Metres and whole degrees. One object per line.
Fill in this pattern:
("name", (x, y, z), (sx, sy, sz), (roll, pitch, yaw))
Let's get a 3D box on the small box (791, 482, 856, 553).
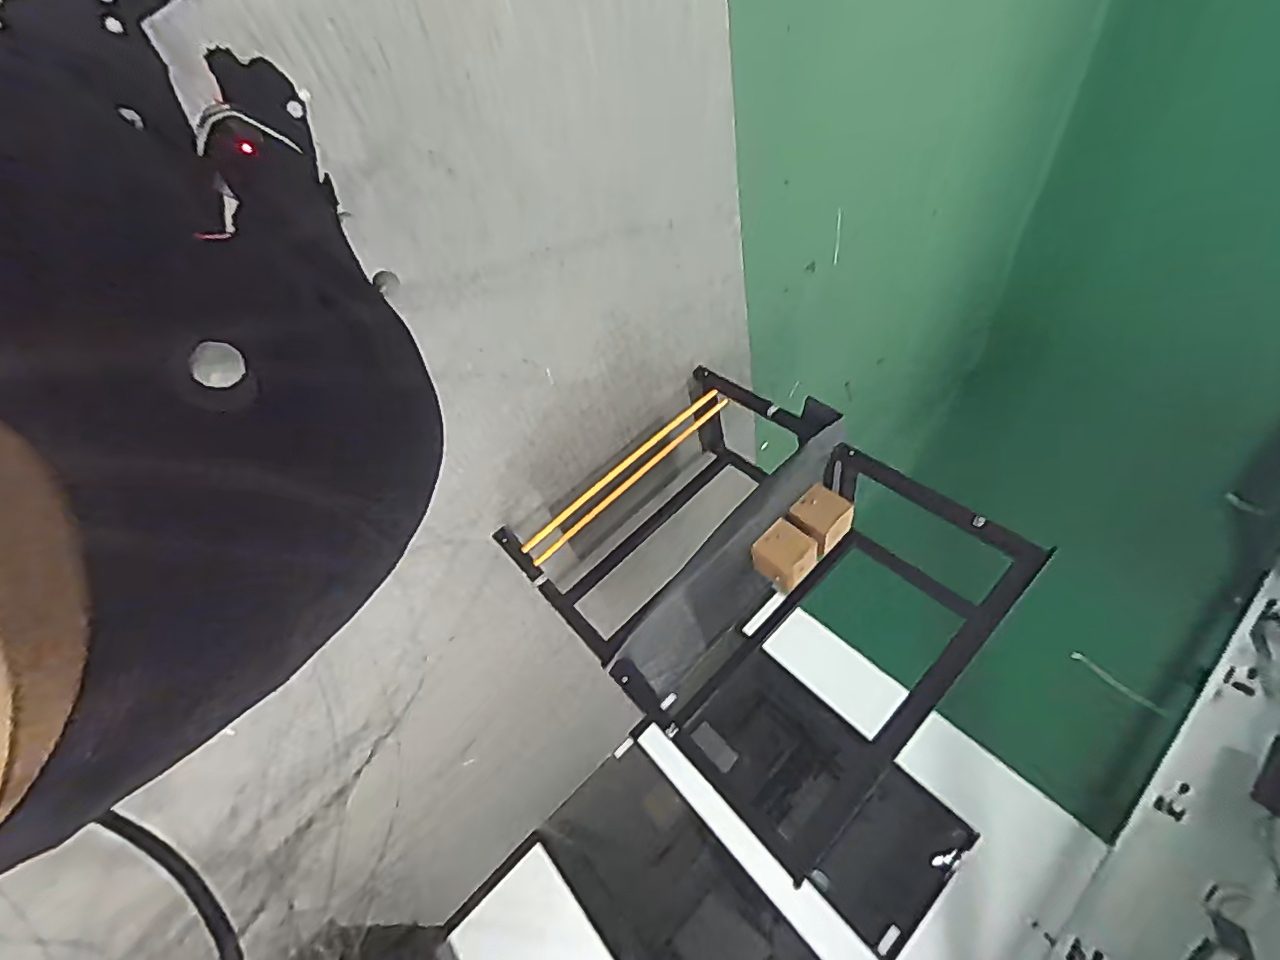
("small box", (0.691, 0.138, 2.053), (0.168, 0.176, 0.179), (-41, 144, -16))
